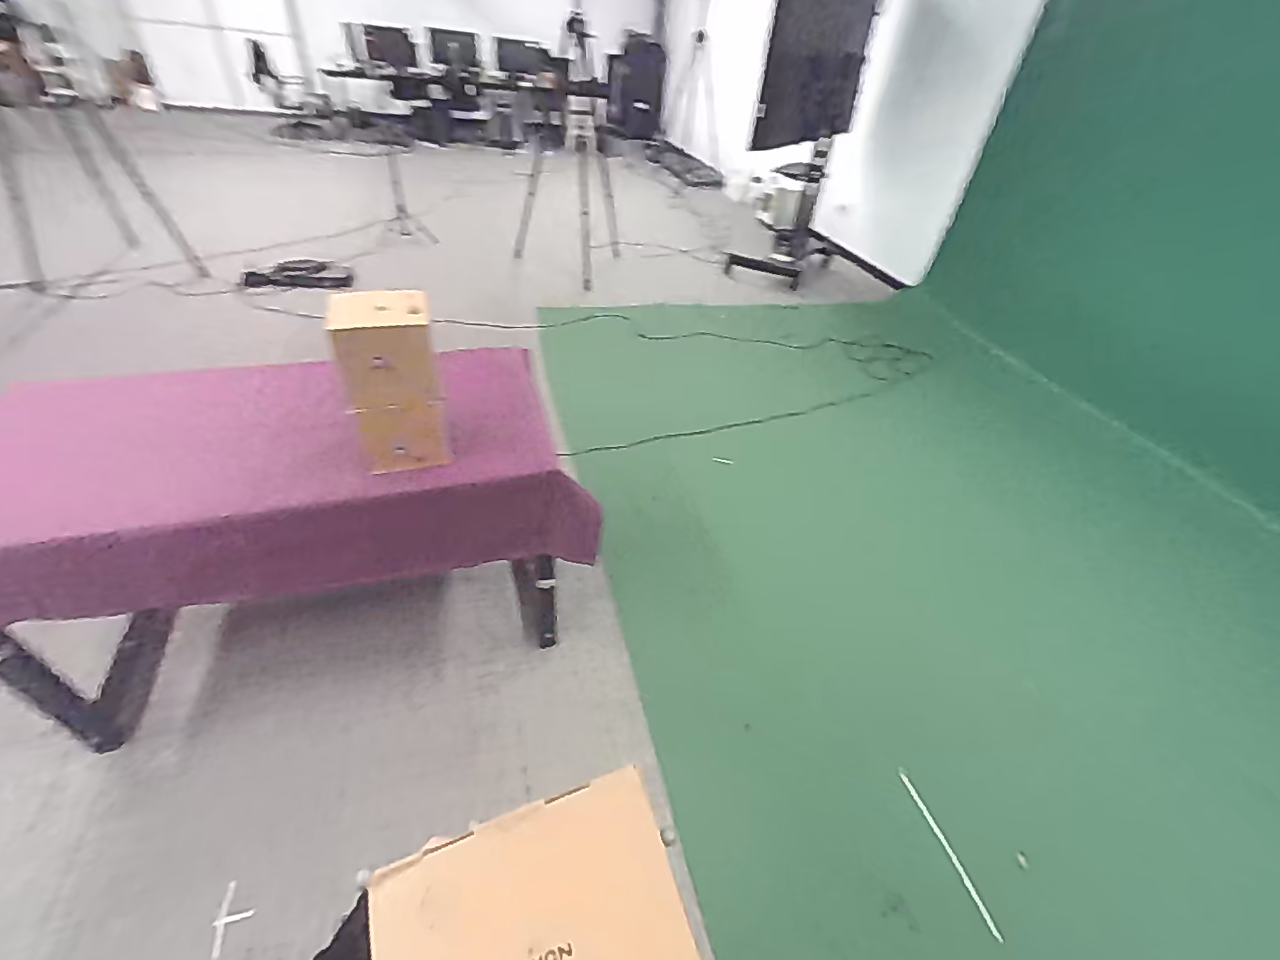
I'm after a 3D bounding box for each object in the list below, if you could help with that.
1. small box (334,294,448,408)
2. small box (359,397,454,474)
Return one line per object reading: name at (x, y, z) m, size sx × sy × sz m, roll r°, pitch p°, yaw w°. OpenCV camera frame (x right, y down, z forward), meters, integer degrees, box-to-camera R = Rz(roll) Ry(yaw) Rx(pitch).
small box at (-0.499, -0.261, 1.099) m, size 0.179 × 0.176 × 0.168 m, roll -10°, pitch 43°, yaw -18°
small box at (-0.516, -0.137, 1.205) m, size 0.168 × 0.176 × 0.179 m, roll -10°, pitch 43°, yaw -19°
